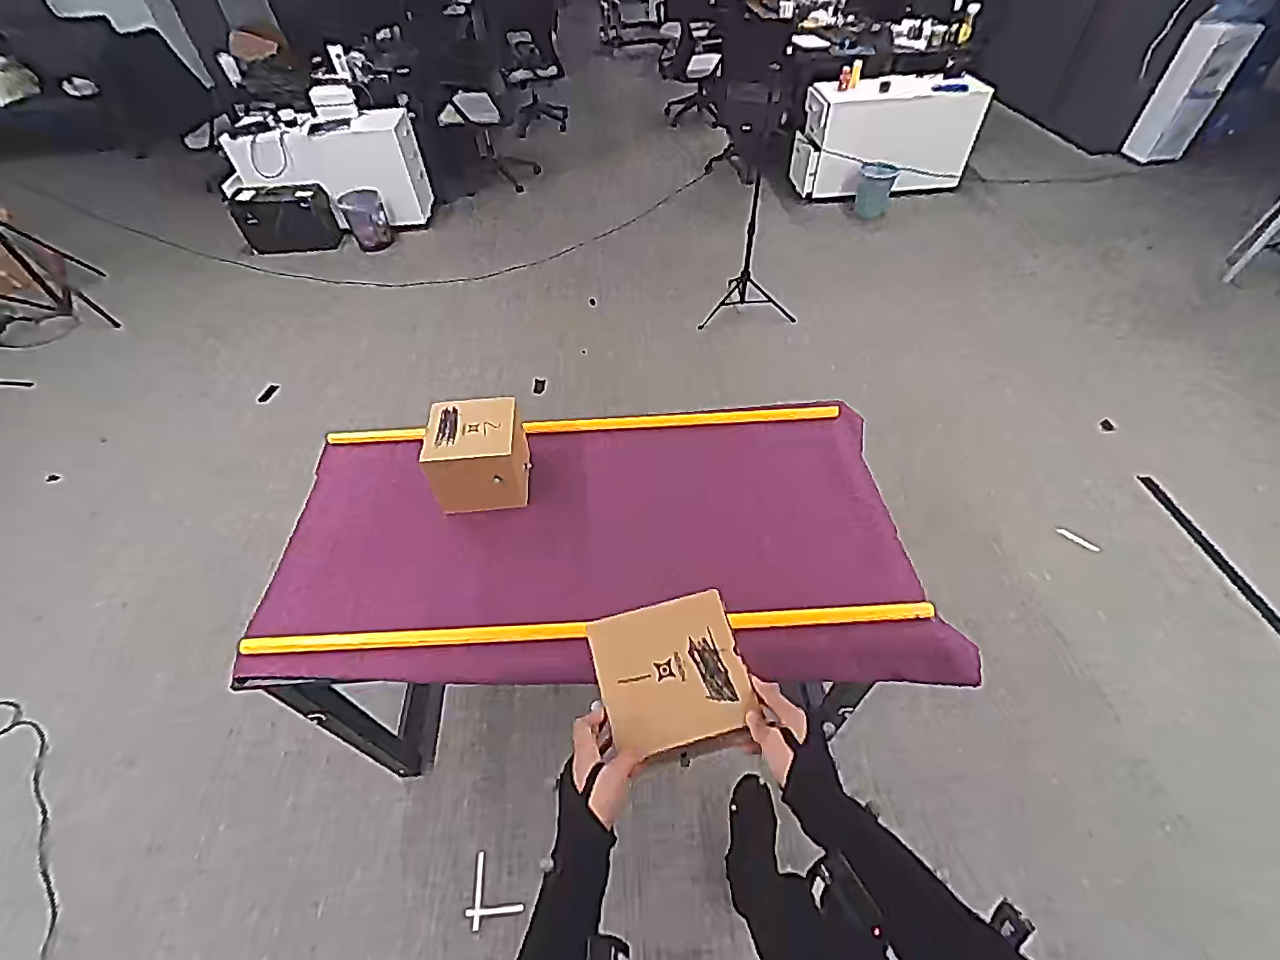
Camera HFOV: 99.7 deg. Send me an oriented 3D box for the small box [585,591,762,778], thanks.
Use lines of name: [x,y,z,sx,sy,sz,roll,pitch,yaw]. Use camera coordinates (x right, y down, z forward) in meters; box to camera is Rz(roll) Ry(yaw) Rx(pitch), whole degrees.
small box: [0.034,0.267,0.699,0.179,0.176,0.168,-13,56,-8]
